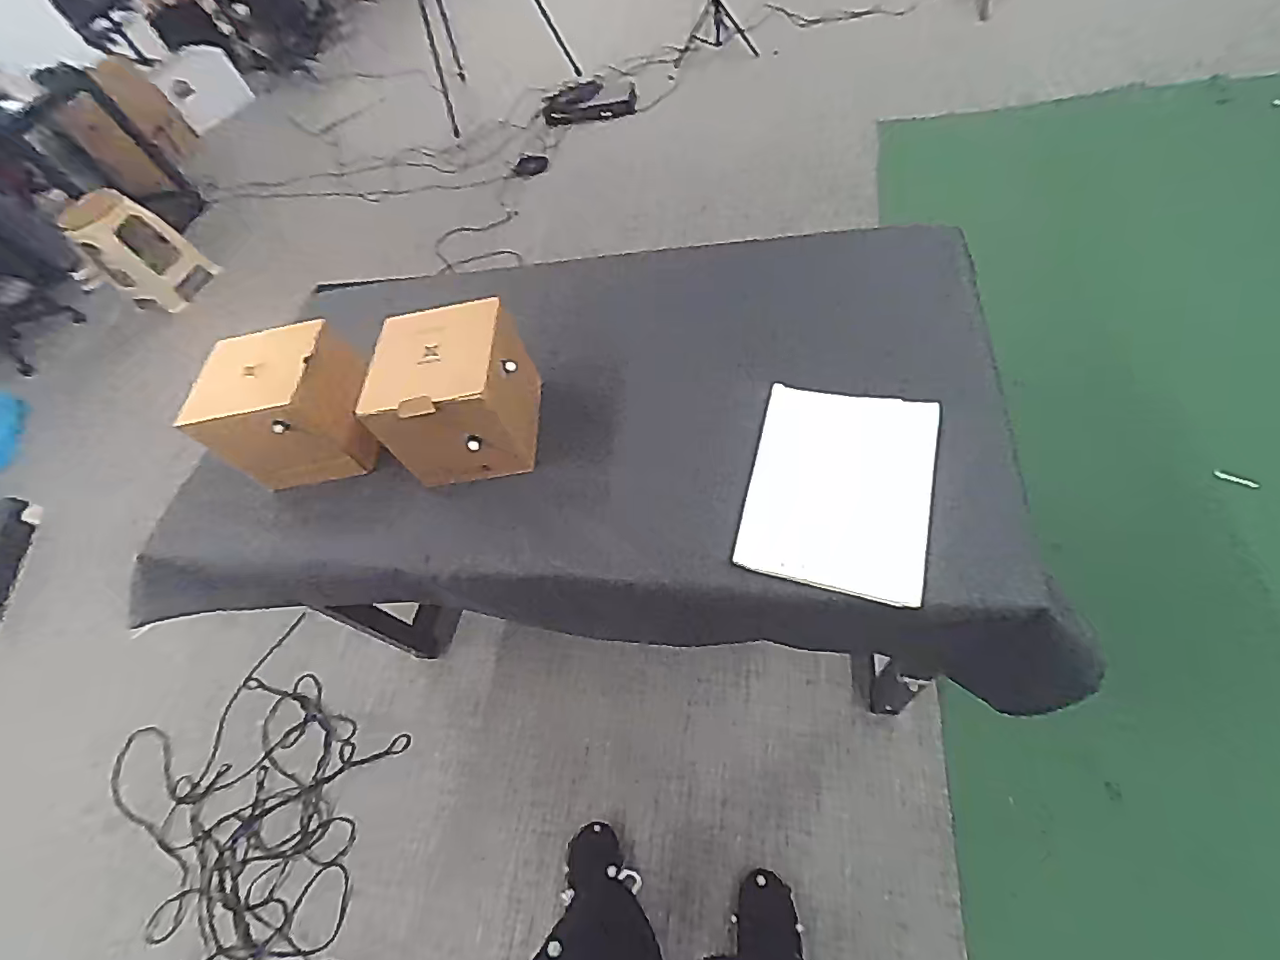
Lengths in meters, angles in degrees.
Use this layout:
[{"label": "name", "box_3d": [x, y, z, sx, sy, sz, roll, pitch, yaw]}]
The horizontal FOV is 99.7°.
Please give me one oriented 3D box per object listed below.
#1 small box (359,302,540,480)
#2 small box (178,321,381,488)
[{"label": "small box", "box_3d": [-0.246, -0.112, 0.748, 0.168, 0.176, 0.179, -7, 55, 7]}, {"label": "small box", "box_3d": [-0.512, -0.104, 0.807, 0.179, 0.176, 0.168, -9, 55, 7]}]
